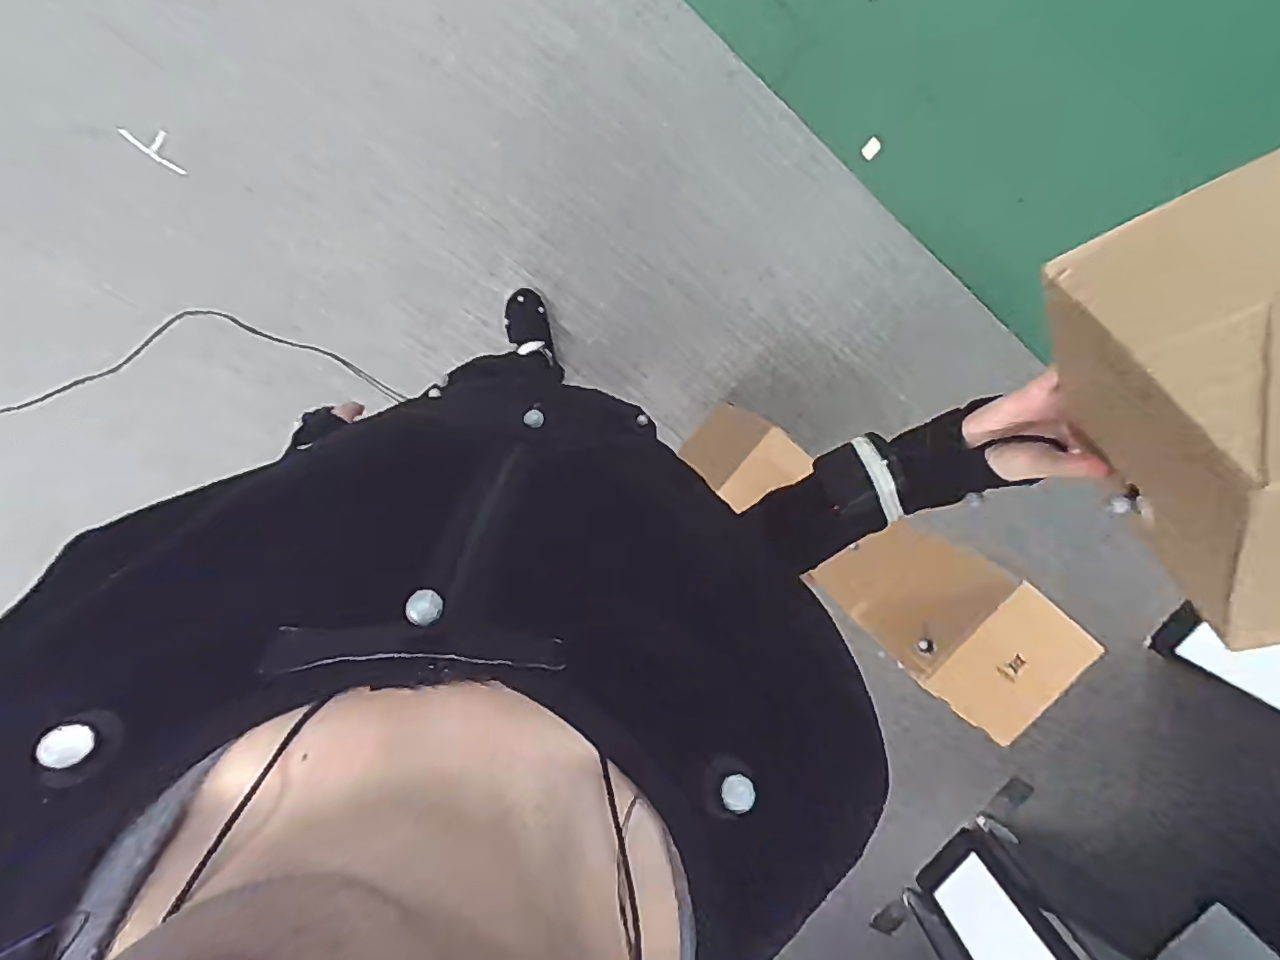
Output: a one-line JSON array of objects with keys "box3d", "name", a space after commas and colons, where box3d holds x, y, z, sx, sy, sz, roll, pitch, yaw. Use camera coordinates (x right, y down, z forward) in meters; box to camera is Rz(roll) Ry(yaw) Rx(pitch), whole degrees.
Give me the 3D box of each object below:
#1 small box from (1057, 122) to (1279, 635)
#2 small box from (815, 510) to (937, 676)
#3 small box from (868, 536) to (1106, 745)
[{"box3d": [0.335, -0.056, 0.259, 0.168, 0.179, 0.176, -24, 132, 26], "name": "small box"}, {"box3d": [0.429, 0.175, 0.893, 0.179, 0.176, 0.168, 42, 97, -14], "name": "small box"}, {"box3d": [0.451, 0.204, 0.733, 0.168, 0.176, 0.179, 37, 98, -13], "name": "small box"}]
